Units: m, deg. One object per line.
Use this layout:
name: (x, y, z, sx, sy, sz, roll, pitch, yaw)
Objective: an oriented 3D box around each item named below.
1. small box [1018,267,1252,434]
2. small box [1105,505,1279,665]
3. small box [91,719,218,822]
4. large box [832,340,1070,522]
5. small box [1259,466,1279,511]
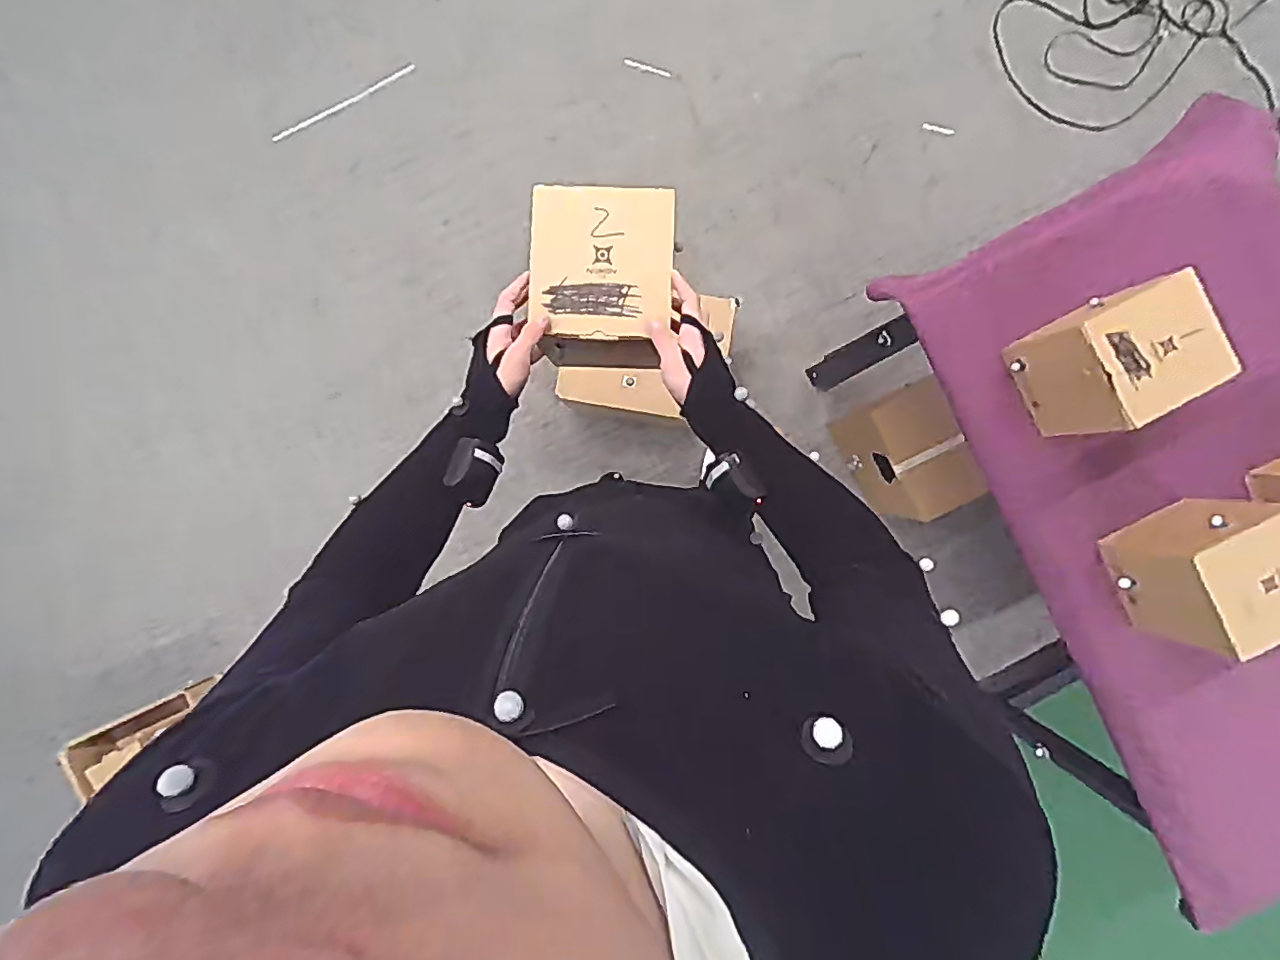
small box: (0.715, -0.179, 0.810, 0.179, 0.176, 0.168, -28, 92, -1)
small box: (0.878, 0.145, 0.820, 0.179, 0.176, 0.168, -25, 91, 0)
small box: (-1.369, 0.811, 1.537, 0.168, 0.176, 0.179, -30, 92, 1)
large box: (0.815, -0.120, 1.475, 0.408, 0.320, 0.320, -27, 92, 0)
small box: (1.130, 0.036, 0.816, 0.179, 0.176, 0.168, -25, 92, 2)
